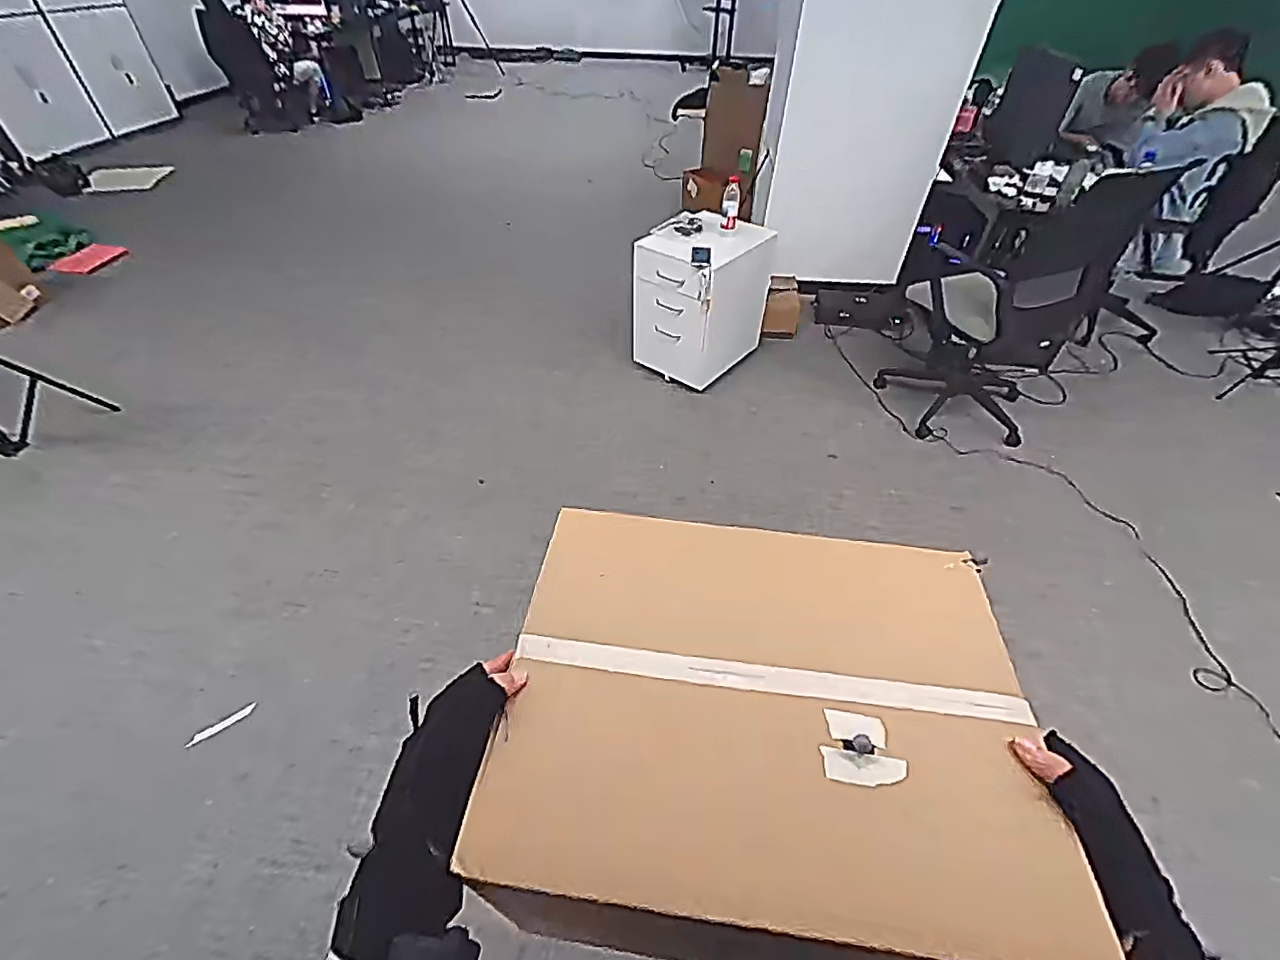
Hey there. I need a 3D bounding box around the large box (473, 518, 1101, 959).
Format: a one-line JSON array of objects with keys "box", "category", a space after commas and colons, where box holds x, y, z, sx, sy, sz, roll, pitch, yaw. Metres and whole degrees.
[{"box": [0.098, 0.269, 0.548, 0.408, 0.320, 0.320, 6, 46, 5], "category": "large box"}]
